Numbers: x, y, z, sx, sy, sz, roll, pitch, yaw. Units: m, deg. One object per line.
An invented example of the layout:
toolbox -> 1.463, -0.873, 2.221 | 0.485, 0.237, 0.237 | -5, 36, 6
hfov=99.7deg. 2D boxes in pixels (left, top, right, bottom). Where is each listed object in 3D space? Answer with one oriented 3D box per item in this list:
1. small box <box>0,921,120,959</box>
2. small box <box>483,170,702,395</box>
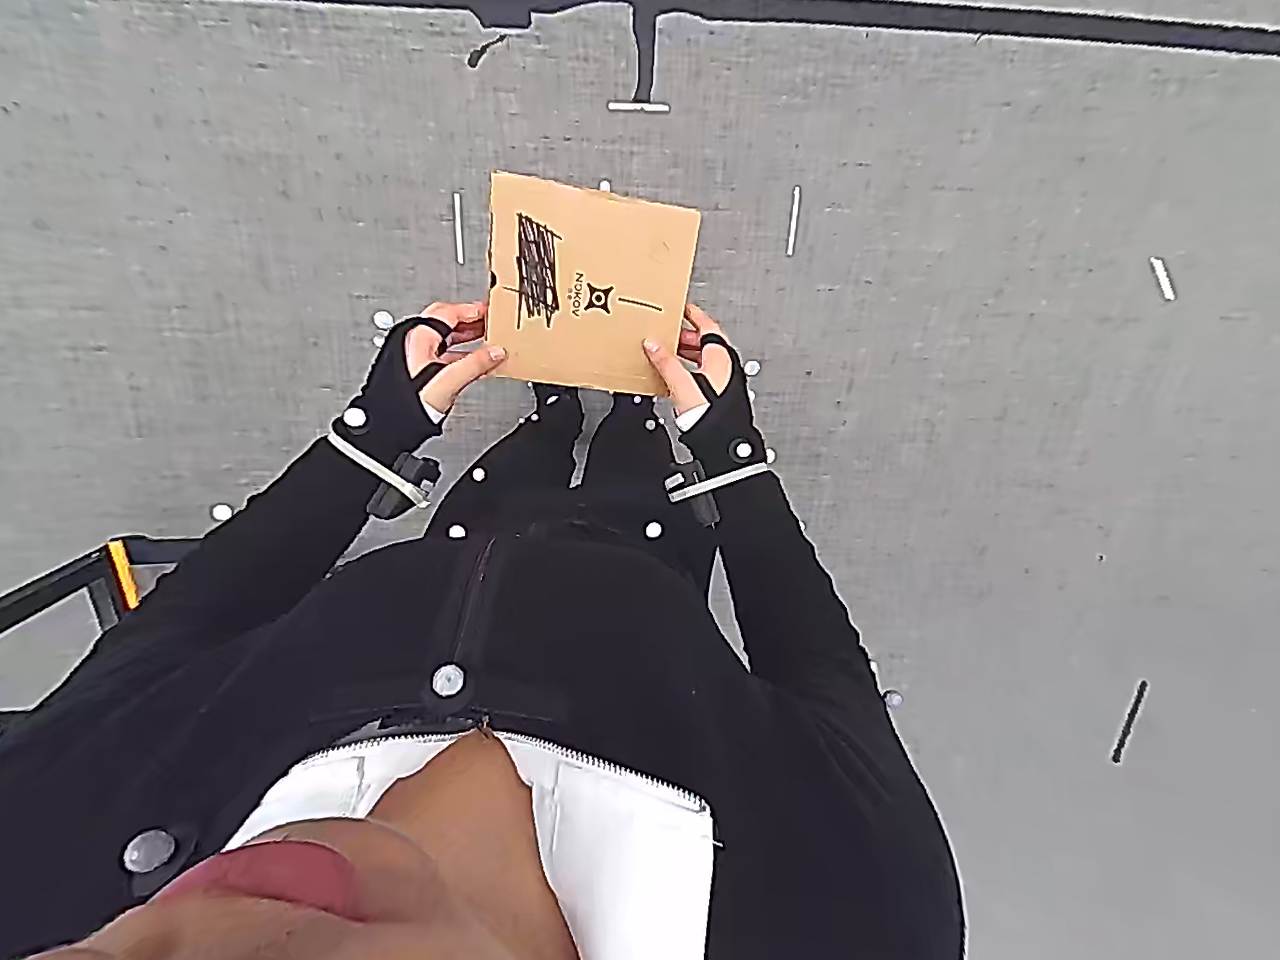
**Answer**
small box -> -1.007, 0.859, 0.874 | 0.179, 0.176, 0.168 | -1, 111, -4
small box -> -0.056, -0.195, 0.547 | 0.179, 0.176, 0.168 | 5, 113, -12
